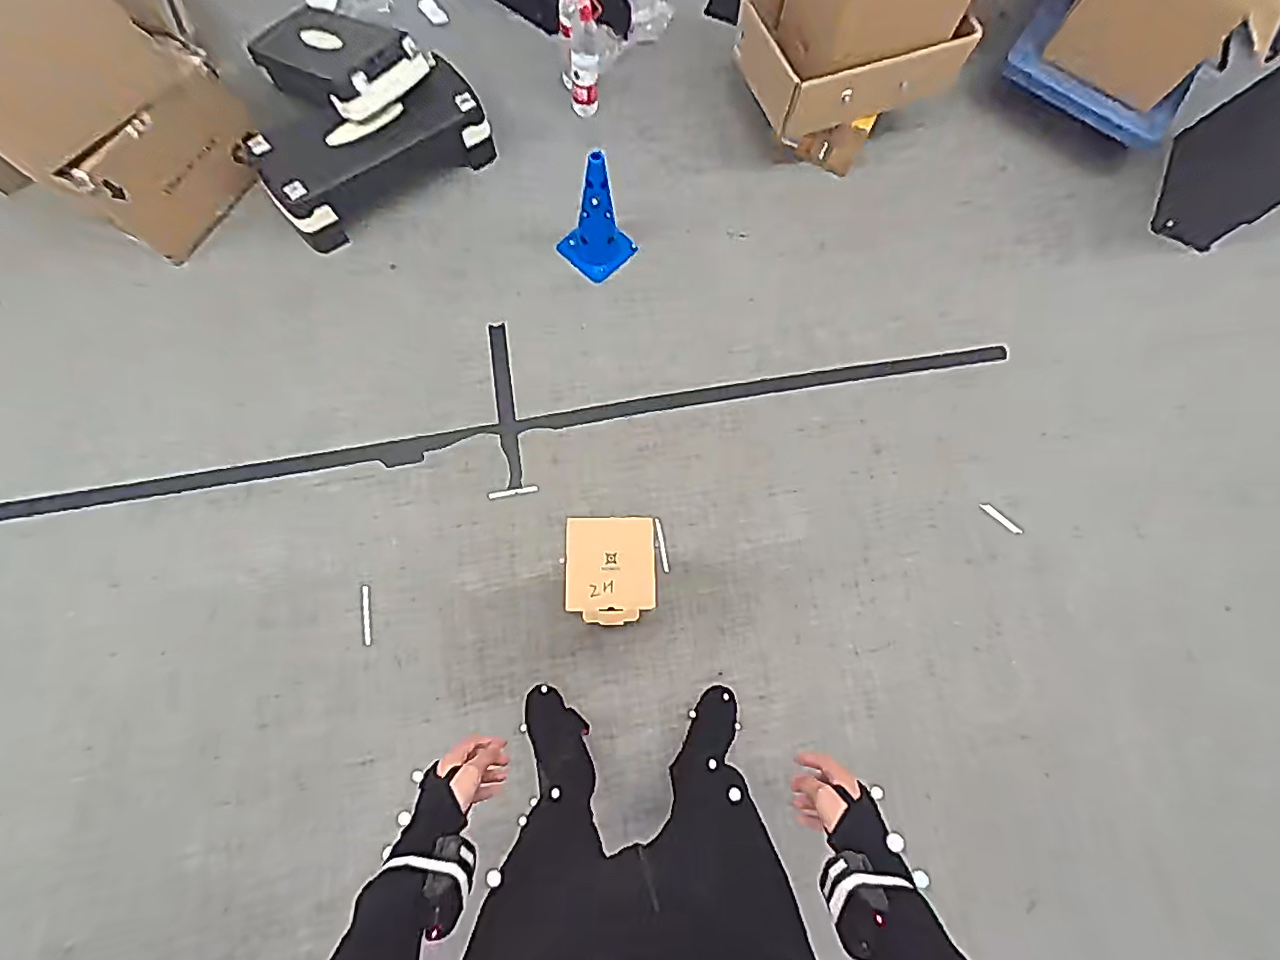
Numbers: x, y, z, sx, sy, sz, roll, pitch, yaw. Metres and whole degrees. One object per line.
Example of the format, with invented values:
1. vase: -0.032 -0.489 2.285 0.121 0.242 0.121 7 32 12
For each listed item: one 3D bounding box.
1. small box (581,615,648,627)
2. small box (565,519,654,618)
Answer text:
1. small box: -0.071 0.282 1.395 0.168 0.176 0.179 -5 75 -5
2. small box: -0.062 0.182 1.080 0.168 0.176 0.179 1 74 -4
